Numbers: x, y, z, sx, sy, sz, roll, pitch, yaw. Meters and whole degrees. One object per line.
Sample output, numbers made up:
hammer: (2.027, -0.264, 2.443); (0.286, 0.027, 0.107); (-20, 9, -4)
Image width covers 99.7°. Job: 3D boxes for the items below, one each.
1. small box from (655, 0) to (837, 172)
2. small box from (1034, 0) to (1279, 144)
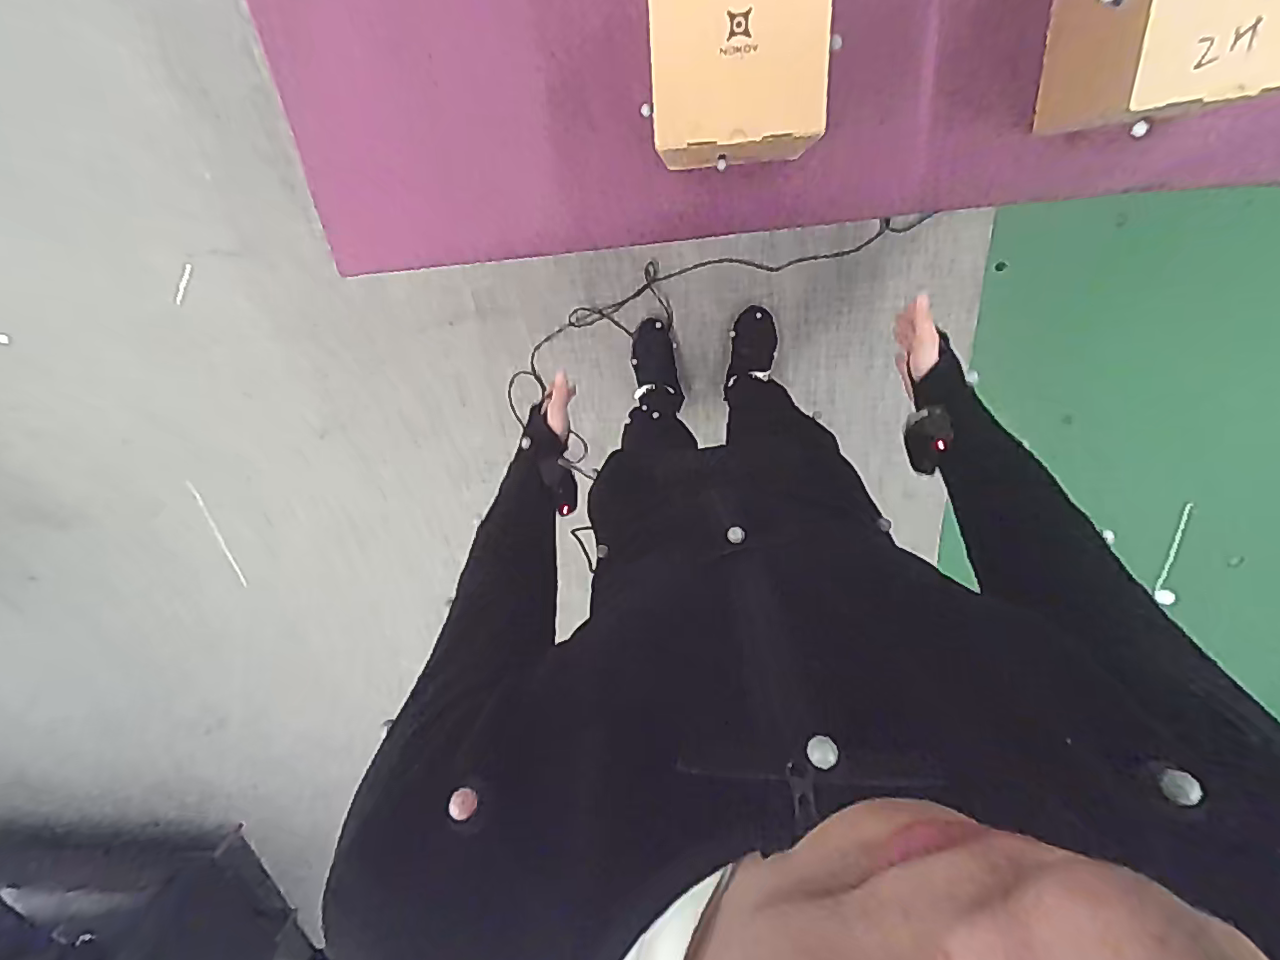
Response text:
small box: (0.102, -0.436, 0.570); (0.168, 0.176, 0.179); (-1, 116, 6)
small box: (0.519, -0.441, 0.517); (0.168, 0.176, 0.179); (-3, 117, 9)
